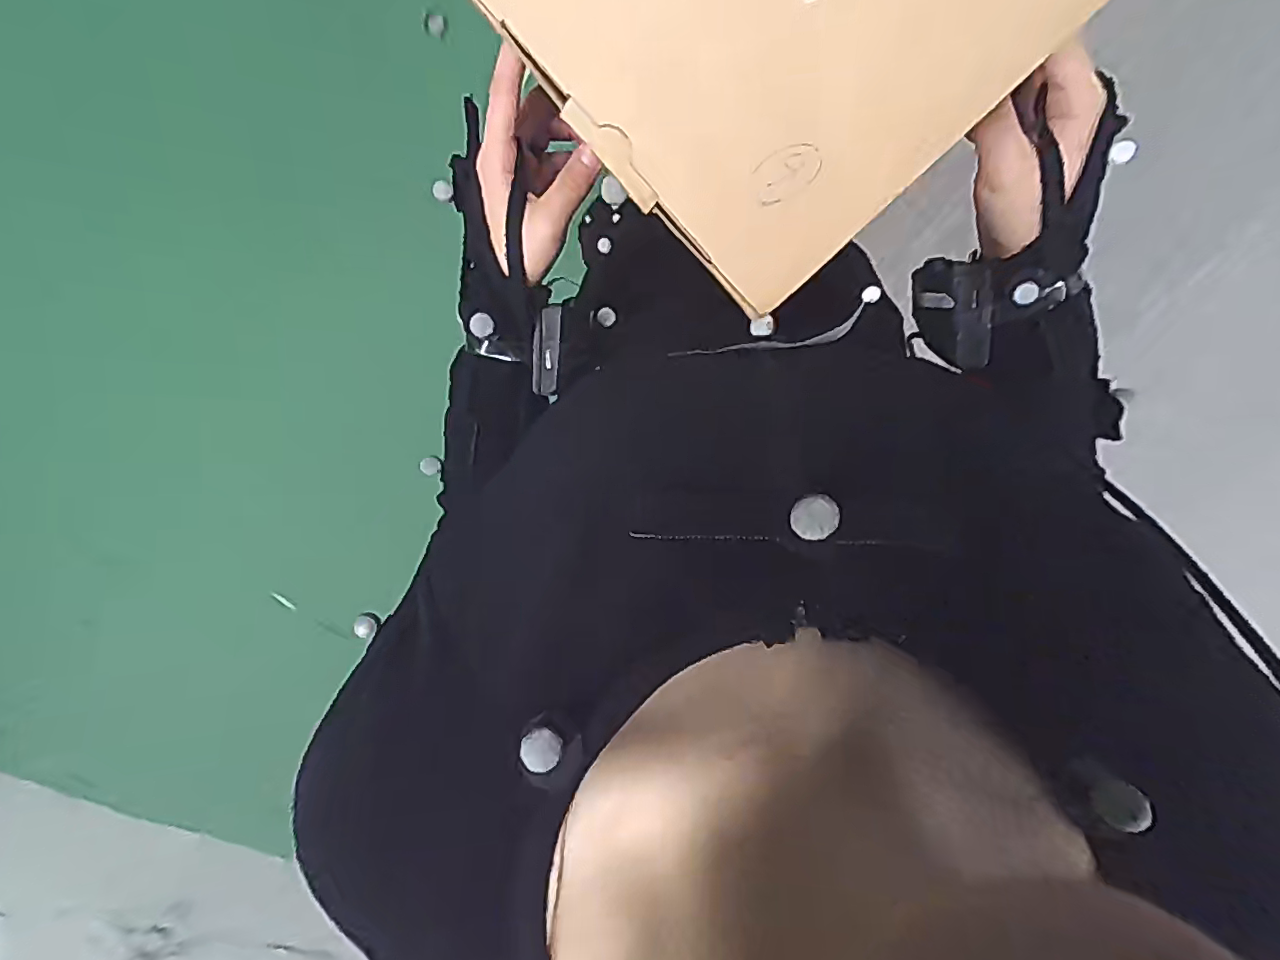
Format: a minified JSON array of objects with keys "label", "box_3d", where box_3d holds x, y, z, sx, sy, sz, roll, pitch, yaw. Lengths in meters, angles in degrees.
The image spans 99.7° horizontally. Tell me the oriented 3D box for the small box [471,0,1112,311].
[{"label":"small box","box_3d":[0.056,-0.205,0.236,0.179,0.176,0.168,-39,107,21]}]
